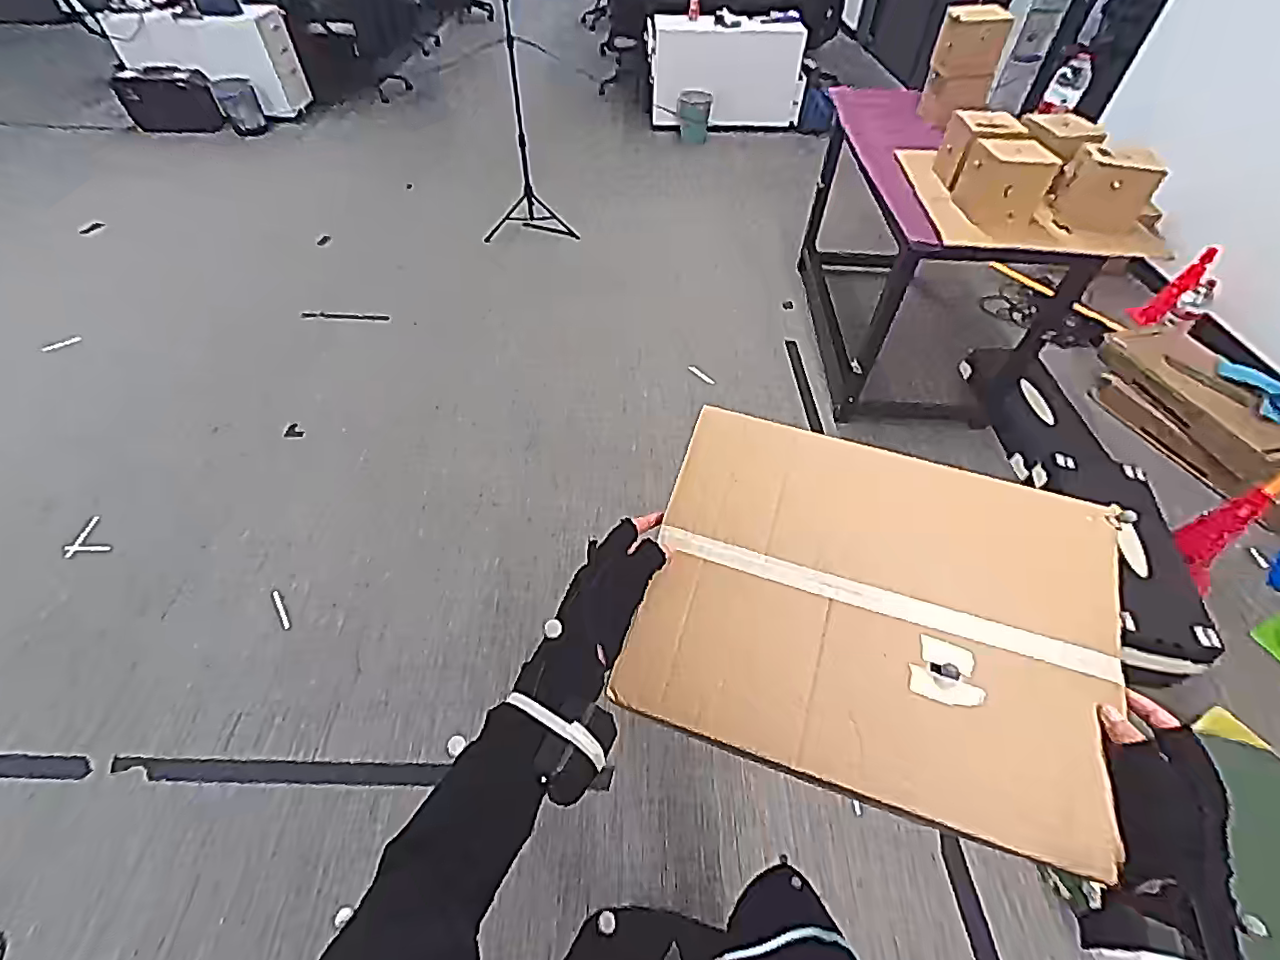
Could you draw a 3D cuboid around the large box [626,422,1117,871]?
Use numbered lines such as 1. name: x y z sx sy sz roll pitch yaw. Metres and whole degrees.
1. large box: 0.226 0.179 0.636 0.408 0.320 0.320 16 67 11
